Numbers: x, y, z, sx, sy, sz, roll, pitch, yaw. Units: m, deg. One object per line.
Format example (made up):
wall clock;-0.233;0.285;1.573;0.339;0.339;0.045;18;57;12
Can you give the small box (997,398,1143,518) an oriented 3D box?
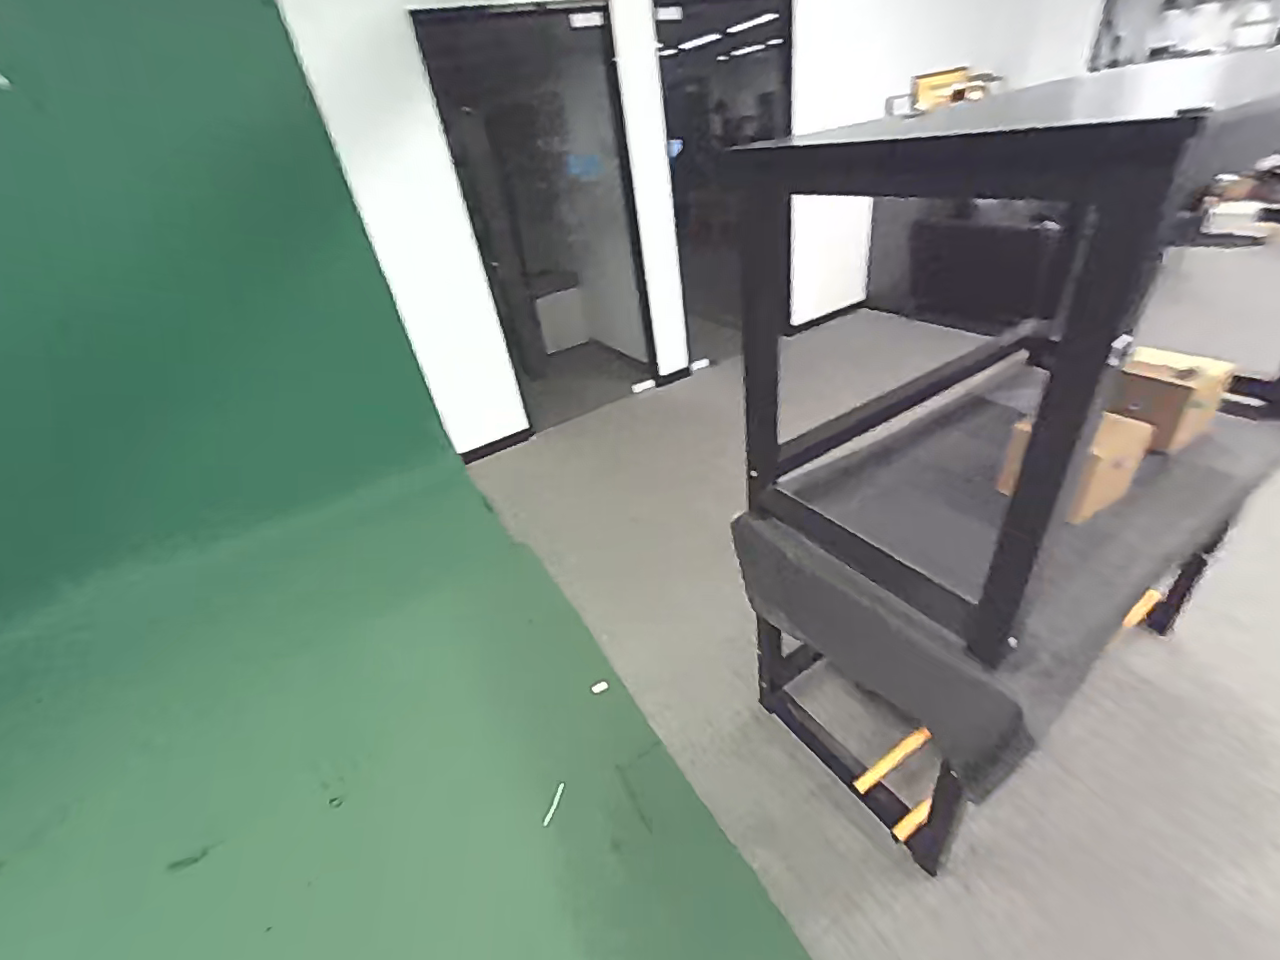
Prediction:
small box;0.889;-0.046;1.136;0.179;0.176;0.168;-23;36;-20

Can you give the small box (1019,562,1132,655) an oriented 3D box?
small box;1.241;0.374;1.552;0.168;0.176;0.179;-23;36;-19
